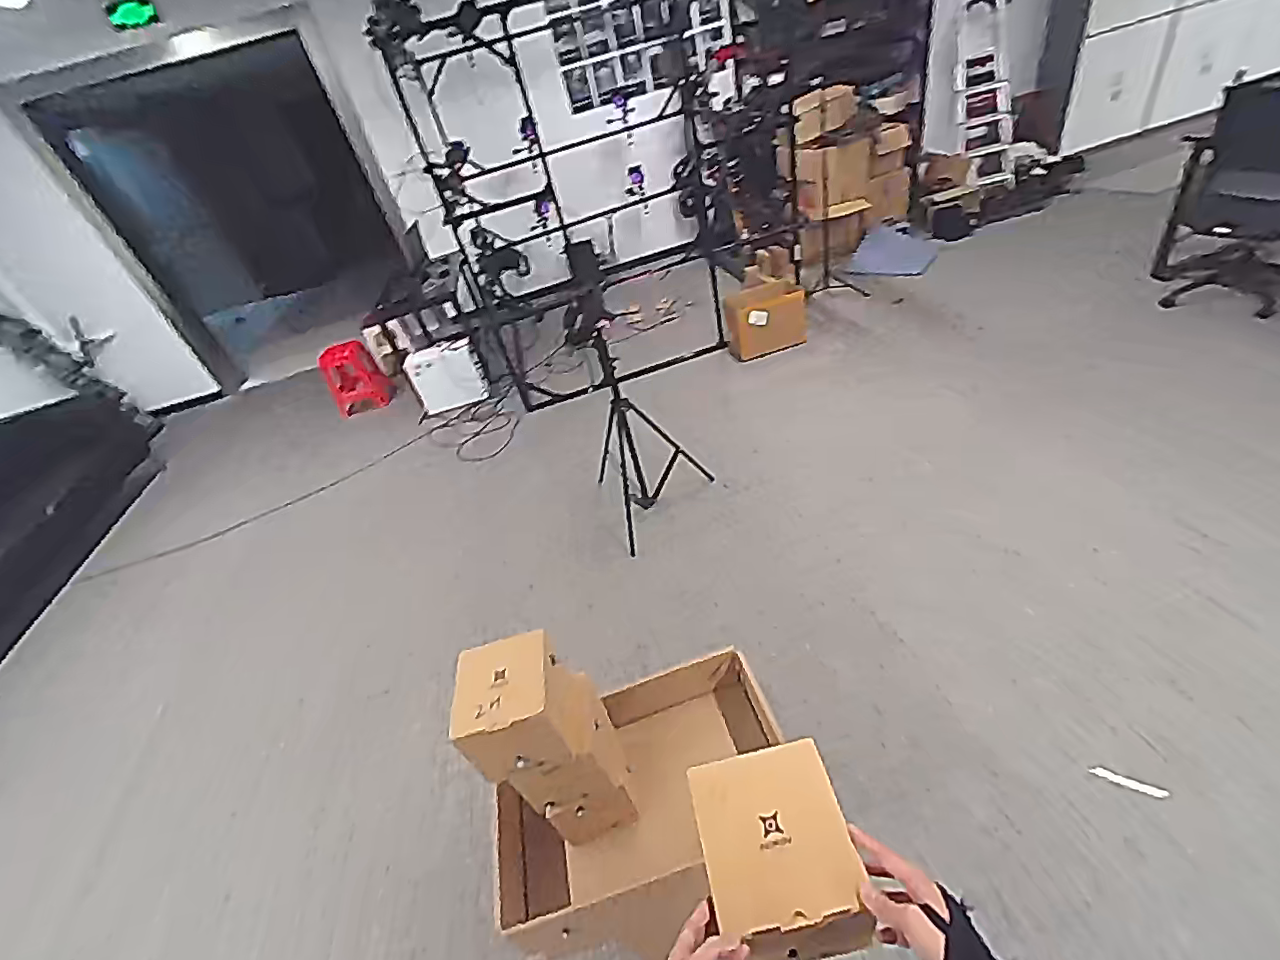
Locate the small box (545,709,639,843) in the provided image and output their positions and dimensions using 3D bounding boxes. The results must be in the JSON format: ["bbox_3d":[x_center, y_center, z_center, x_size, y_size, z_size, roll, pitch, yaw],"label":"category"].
[{"bbox_3d":[-0.114,0.650,1.189,0.168,0.176,0.179,-21,37,-5],"label":"small box"}]

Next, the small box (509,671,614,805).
[{"bbox_3d":[-0.157,0.525,1.091,0.168,0.176,0.179,-16,37,0],"label":"small box"}]

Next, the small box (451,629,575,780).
[{"bbox_3d":[-0.223,0.409,0.990,0.168,0.176,0.179,-16,38,1],"label":"small box"}]

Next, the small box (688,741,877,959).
[{"bbox_3d":[0.164,0.460,0.661,0.168,0.176,0.179,-15,38,0],"label":"small box"}]
